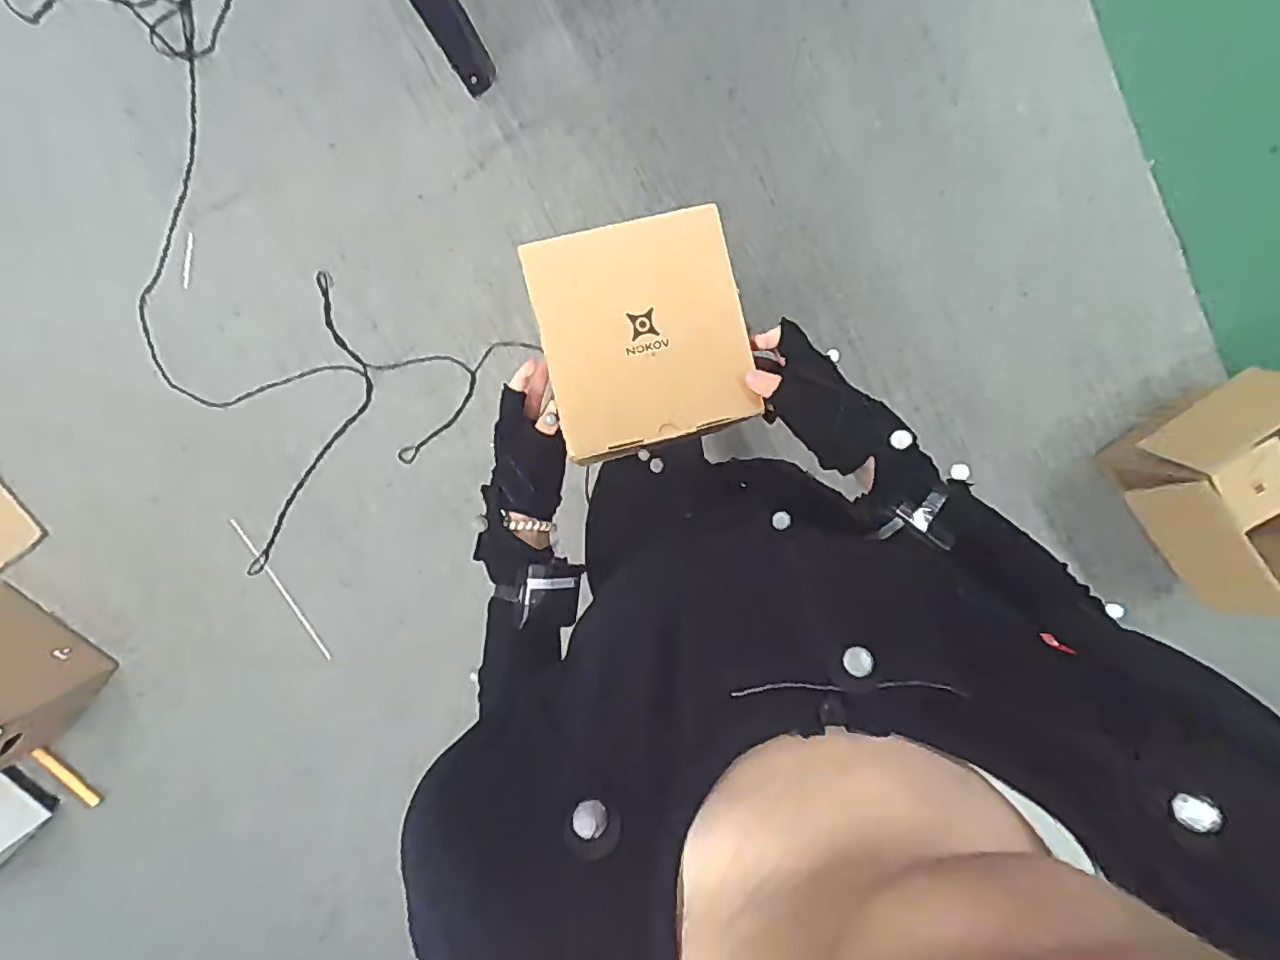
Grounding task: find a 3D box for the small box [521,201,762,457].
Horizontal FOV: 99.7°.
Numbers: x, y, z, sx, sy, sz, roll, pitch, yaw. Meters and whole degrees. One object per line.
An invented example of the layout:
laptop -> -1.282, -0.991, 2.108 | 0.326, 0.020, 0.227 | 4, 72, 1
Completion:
small box -> -0.006, -0.124, 0.511 | 0.168, 0.176, 0.179 | -14, 93, -5
